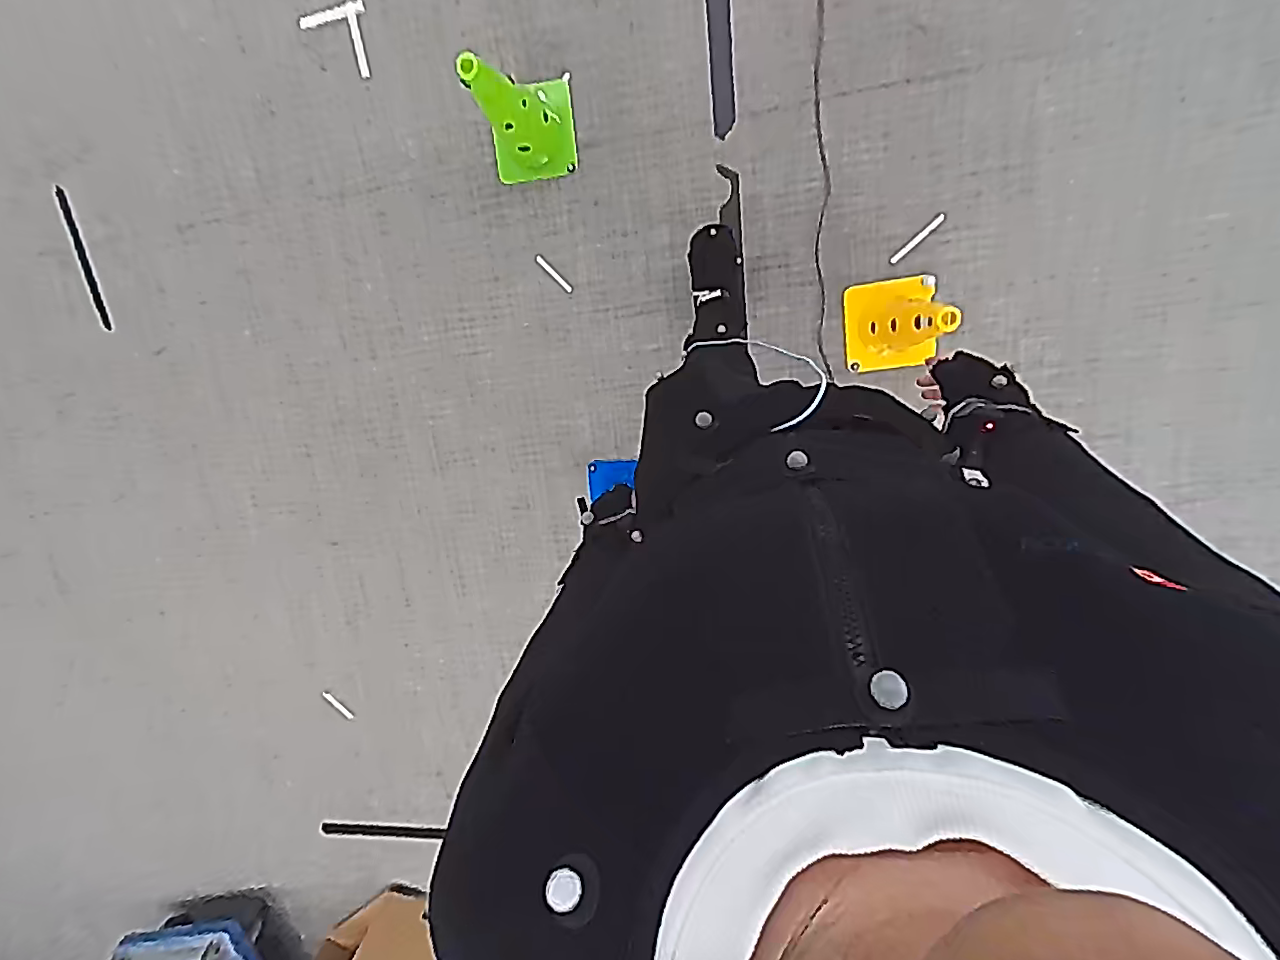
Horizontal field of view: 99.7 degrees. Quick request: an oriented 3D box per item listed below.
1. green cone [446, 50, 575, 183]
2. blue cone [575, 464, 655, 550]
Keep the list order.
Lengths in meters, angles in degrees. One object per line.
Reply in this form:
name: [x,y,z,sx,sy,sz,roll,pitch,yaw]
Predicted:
green cone: [-0.287,-0.783,1.118,0.202,0.368,0.200,-3,104,11]
blue cone: [-0.081,0.088,1.325,0.192,0.380,0.193,0,104,10]
